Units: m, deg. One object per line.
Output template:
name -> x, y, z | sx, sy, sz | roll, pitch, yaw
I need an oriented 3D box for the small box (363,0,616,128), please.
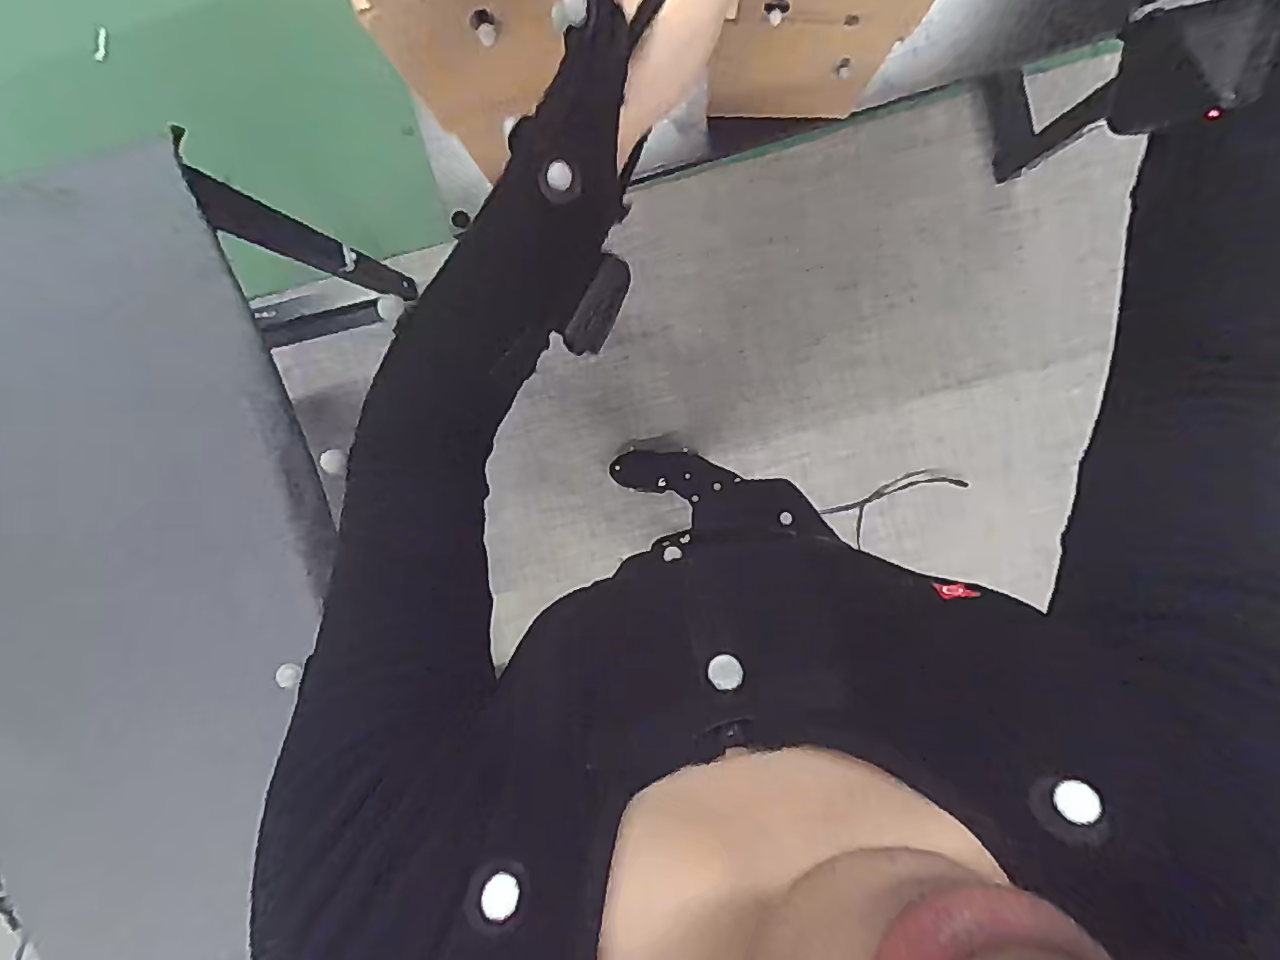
small box -> -0.120, -0.424, 0.431 | 0.179, 0.176, 0.168 | -14, 97, 4

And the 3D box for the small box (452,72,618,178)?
small box -> -0.125, -0.460, 0.590 | 0.168, 0.176, 0.179 | -14, 97, 3

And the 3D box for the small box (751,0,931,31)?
small box -> 0.178, -0.490, 0.411 | 0.168, 0.176, 0.179 | 4, 97, 1
